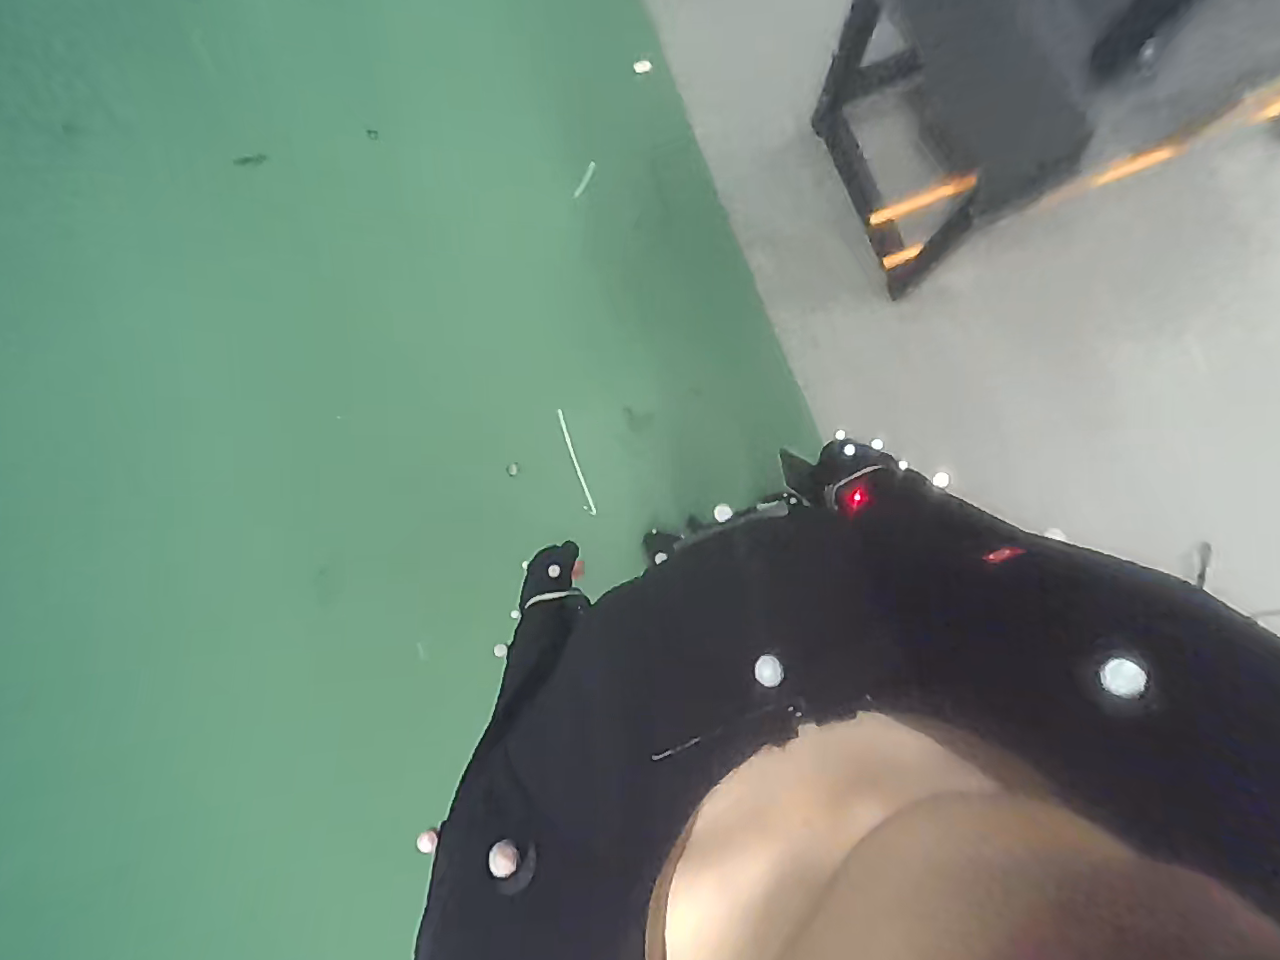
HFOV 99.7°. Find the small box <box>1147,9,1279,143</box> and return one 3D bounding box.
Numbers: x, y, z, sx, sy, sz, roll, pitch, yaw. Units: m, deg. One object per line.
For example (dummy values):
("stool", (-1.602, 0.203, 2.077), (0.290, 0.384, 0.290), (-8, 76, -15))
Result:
("small box", (1.378, -0.940, 1.281), (0.168, 0.176, 0.179), (-18, 86, 2))
